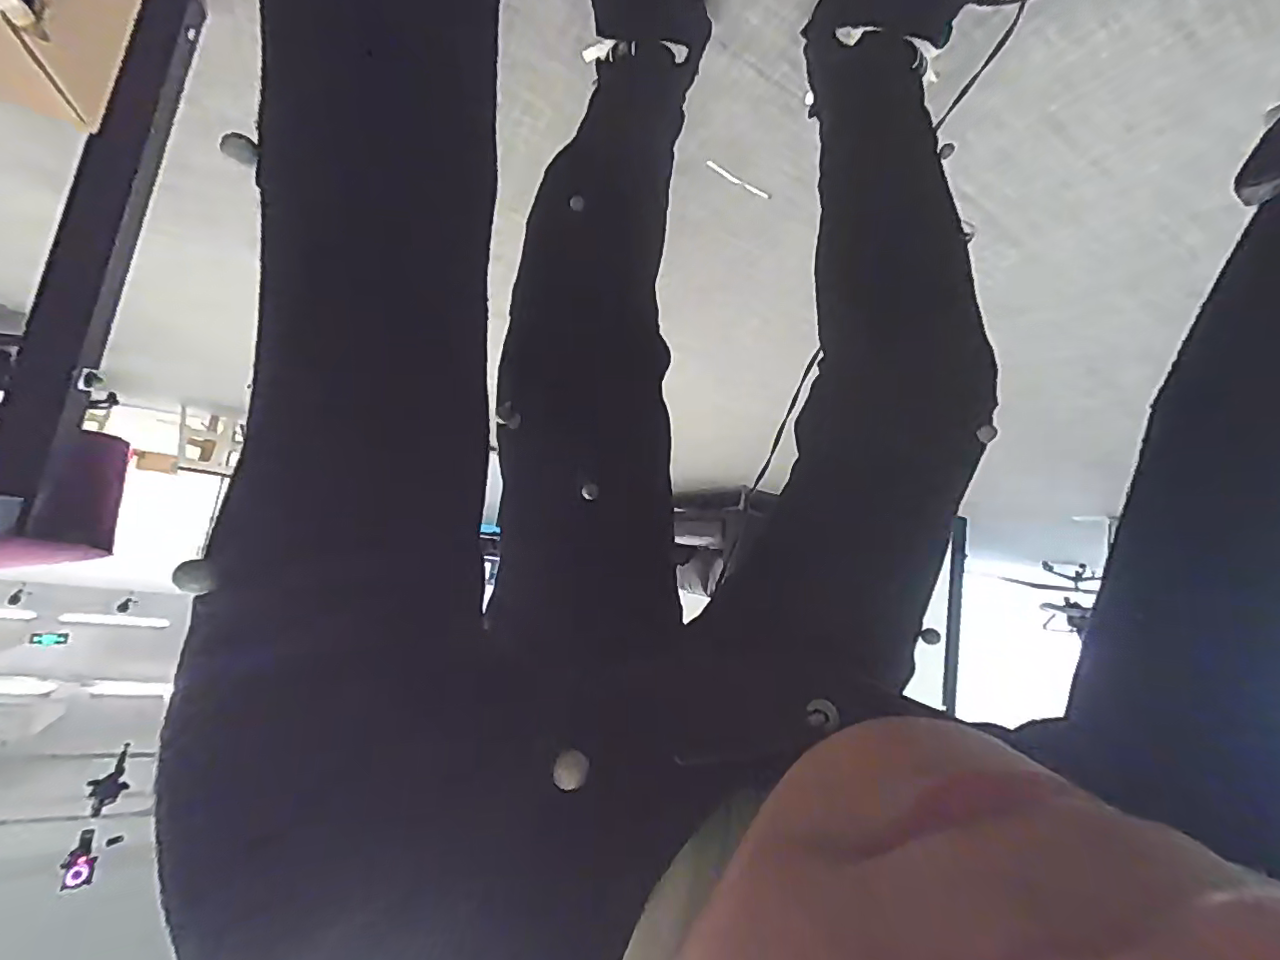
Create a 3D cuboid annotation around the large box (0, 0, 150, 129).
[{"bbox_3d":[-0.609,-0.537,0.334,0.408,0.320,0.320,14,168,-24],"label":"large box"}]
